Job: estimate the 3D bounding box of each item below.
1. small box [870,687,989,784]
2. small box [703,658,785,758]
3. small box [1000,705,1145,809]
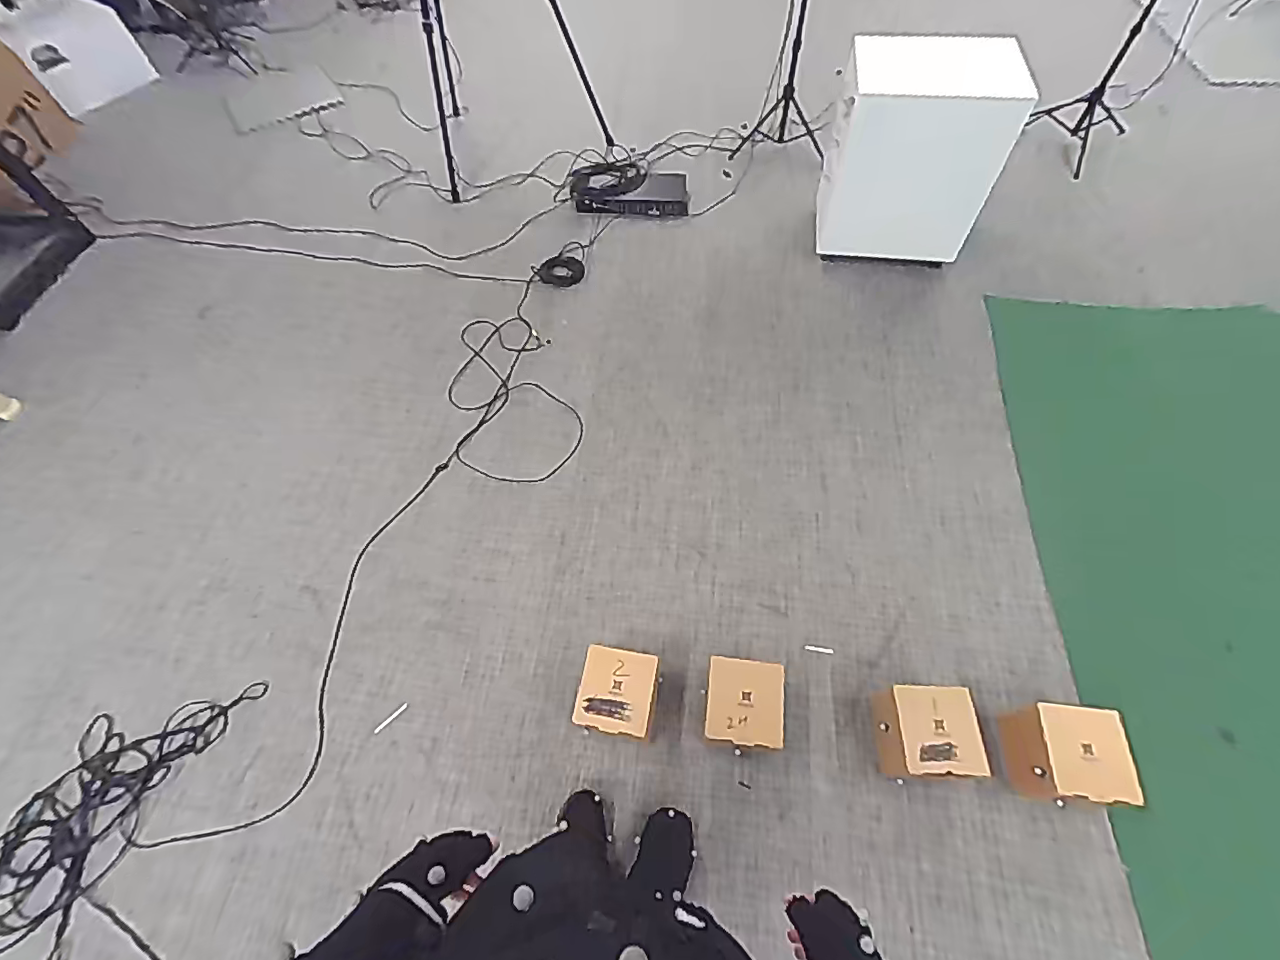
[{"bbox_3d":[0.633,0.573,1.206,0.168,0.176,0.179,1,58,3],"label":"small box"},{"bbox_3d":[0.236,0.529,1.248,0.168,0.176,0.179,5,59,7],"label":"small box"},{"bbox_3d":[0.923,0.604,1.176,0.168,0.176,0.179,4,59,6],"label":"small box"}]
